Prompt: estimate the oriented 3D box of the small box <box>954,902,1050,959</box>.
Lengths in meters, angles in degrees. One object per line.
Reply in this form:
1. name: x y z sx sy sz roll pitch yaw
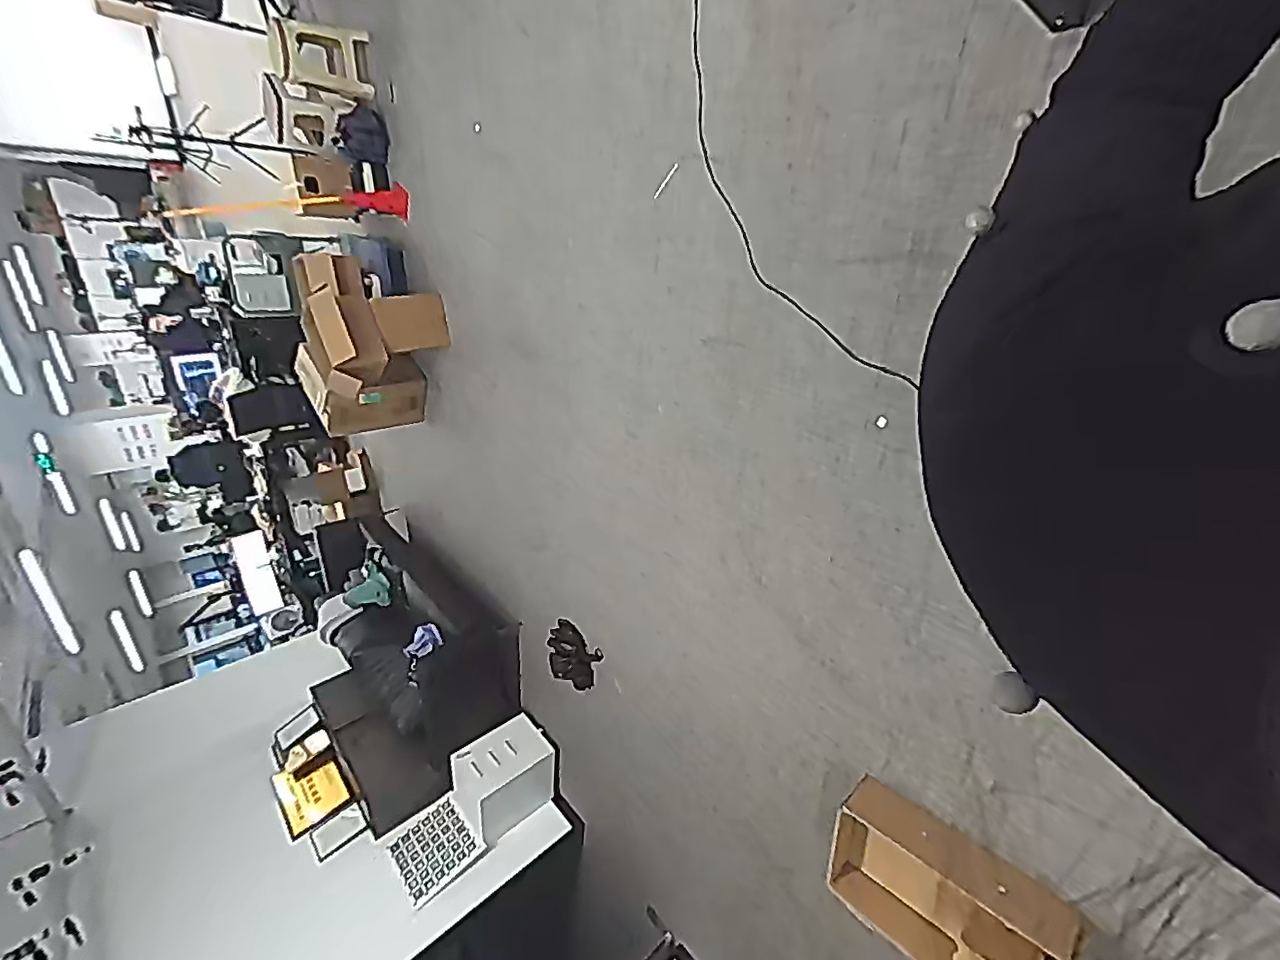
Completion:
1. small box: 1.011 1.342 1.518 0.179 0.176 0.168 18 119 46
